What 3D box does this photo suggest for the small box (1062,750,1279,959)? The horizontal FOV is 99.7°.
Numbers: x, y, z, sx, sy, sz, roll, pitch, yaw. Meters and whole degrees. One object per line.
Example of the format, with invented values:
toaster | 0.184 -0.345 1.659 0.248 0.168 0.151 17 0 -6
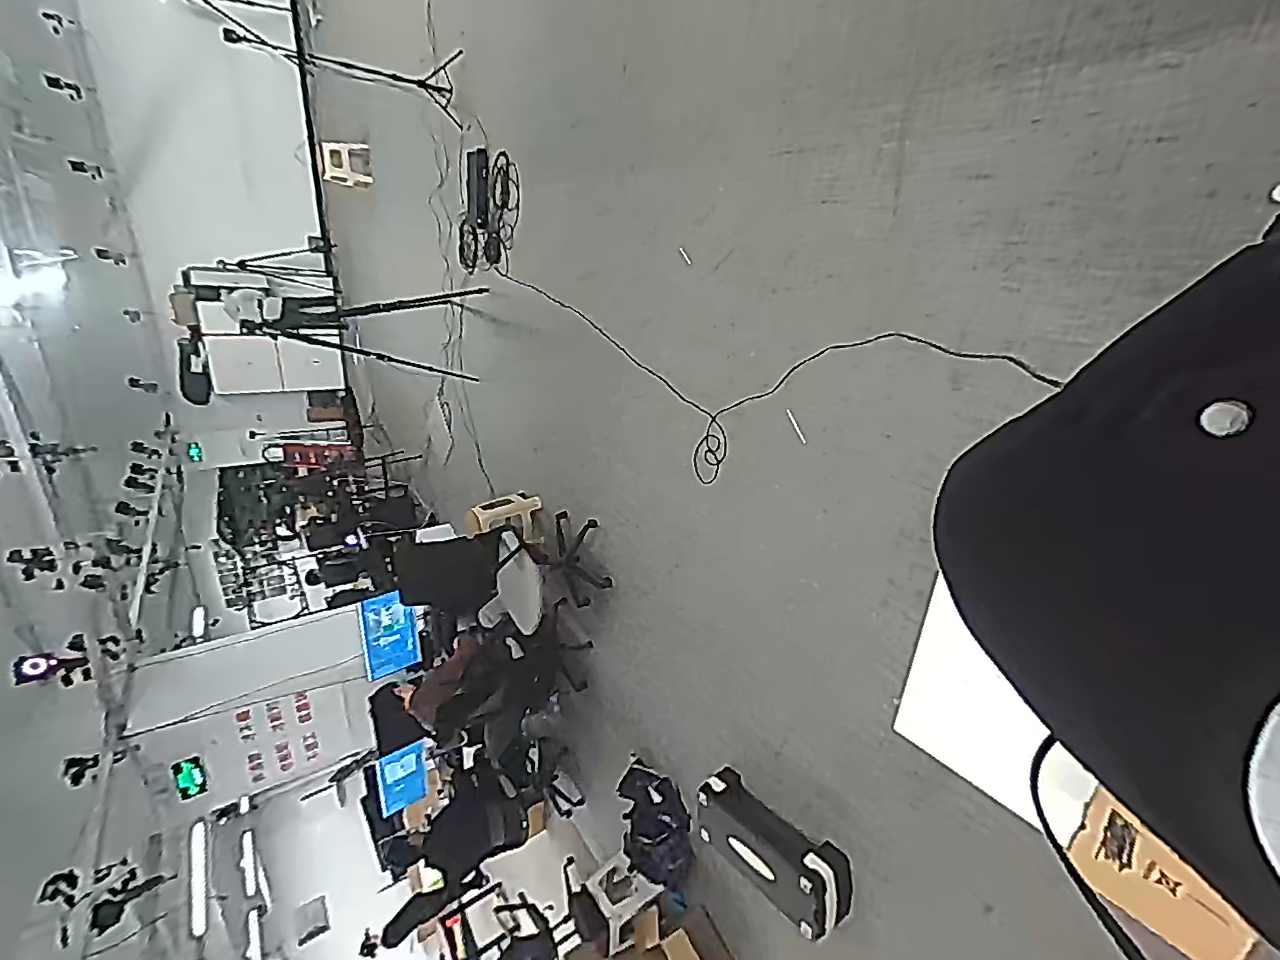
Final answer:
small box | 0.727 0.502 0.732 0.179 0.176 0.168 27 121 48
